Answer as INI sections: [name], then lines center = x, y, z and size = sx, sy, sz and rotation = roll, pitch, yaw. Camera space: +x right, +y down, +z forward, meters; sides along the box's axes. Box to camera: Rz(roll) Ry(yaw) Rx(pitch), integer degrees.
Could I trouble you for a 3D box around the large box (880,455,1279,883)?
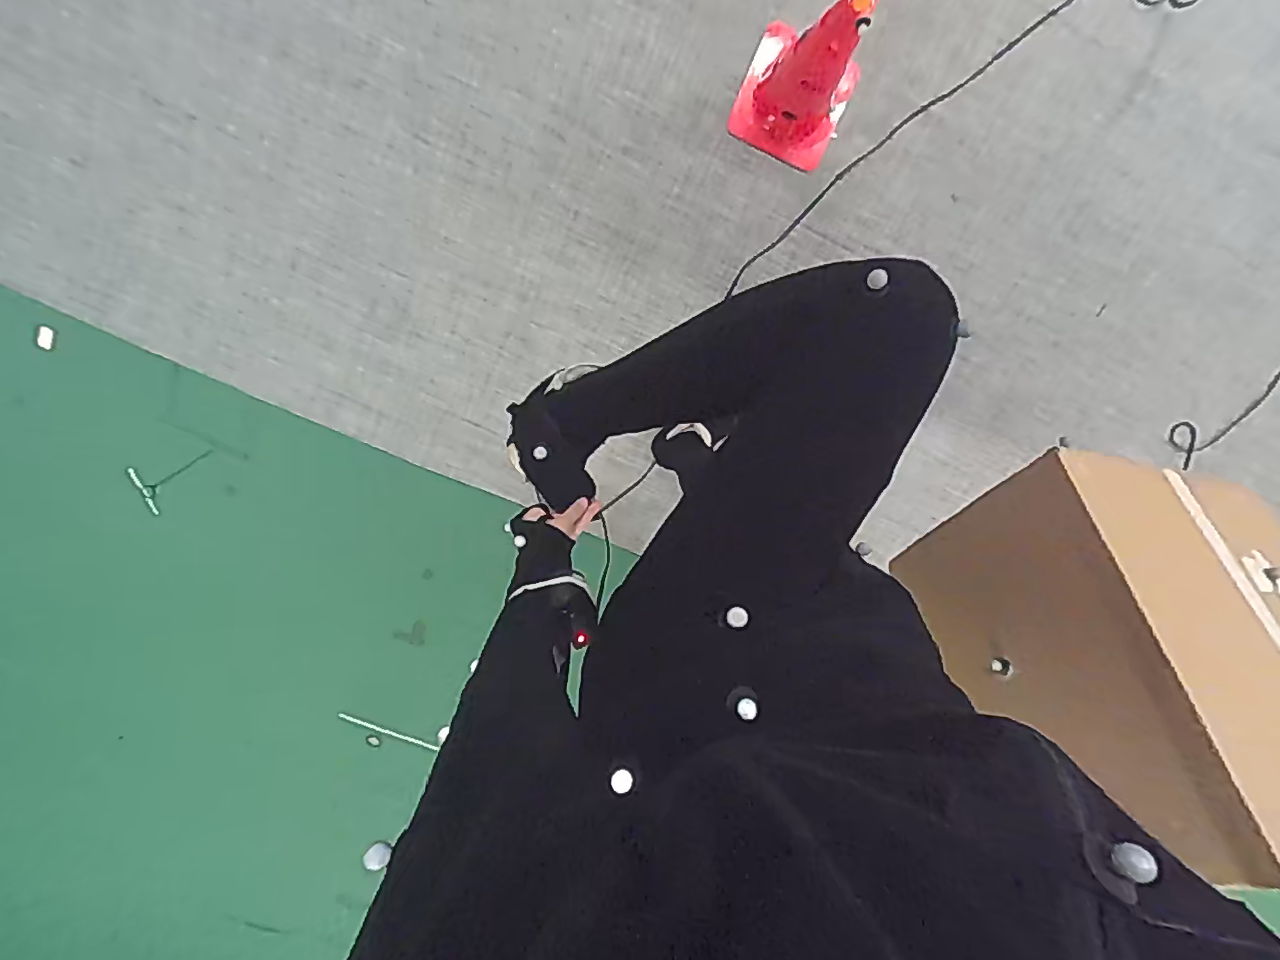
[large box]
center = 0.559, 0.238, 0.663
size = 0.320, 0.408, 0.320
rotation = 10, 144, -13
